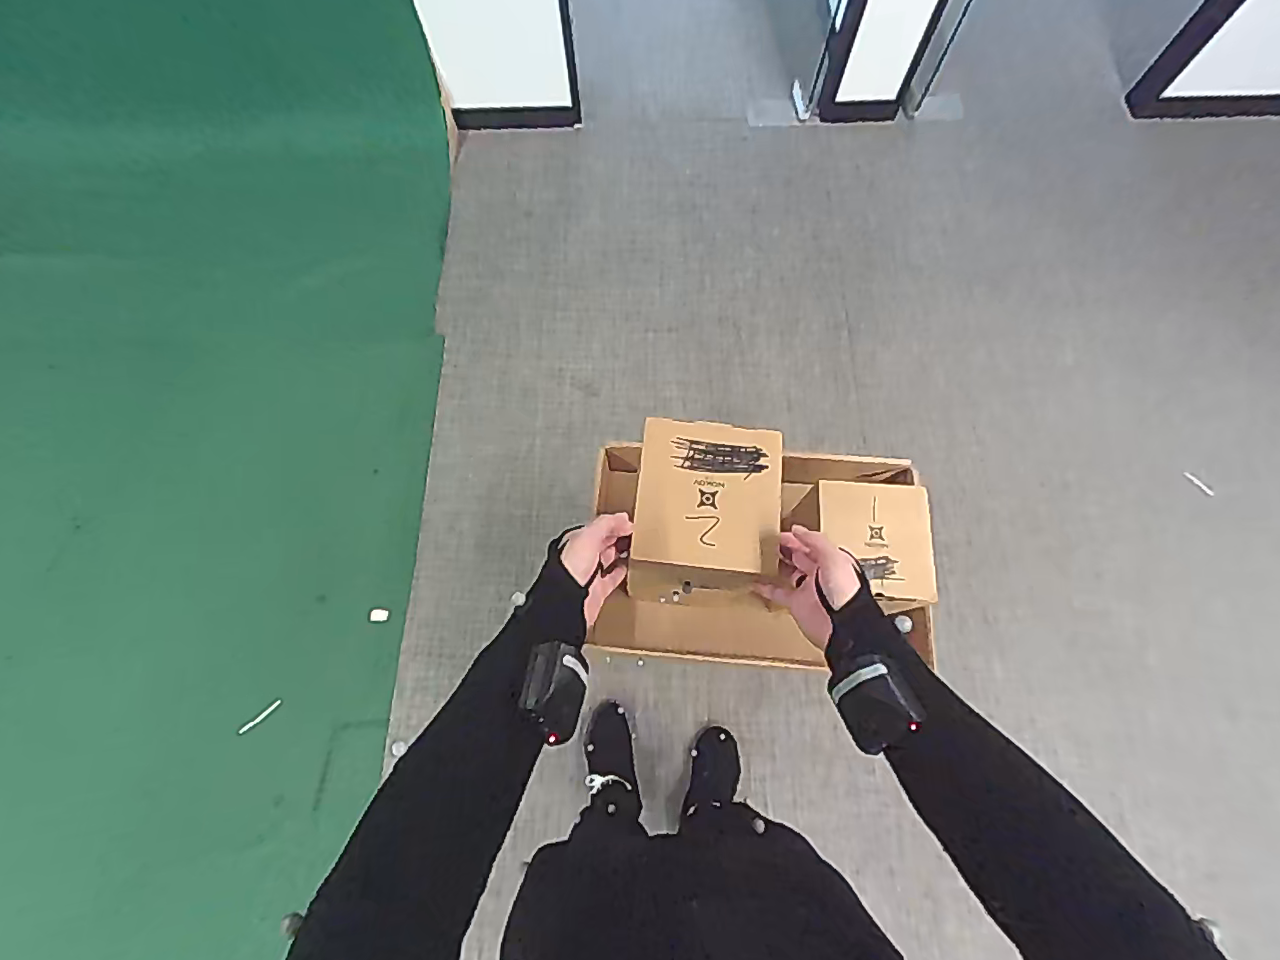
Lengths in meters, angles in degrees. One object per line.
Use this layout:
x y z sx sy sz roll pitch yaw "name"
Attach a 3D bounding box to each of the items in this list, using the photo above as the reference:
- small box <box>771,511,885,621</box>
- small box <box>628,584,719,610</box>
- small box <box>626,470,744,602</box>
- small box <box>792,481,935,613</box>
0.348 0.169 1.025 0.168 0.176 0.179 4 71 3 "small box"
0.071 0.143 1.037 0.168 0.176 0.179 6 71 4 "small box"
0.071 0.098 0.879 0.168 0.176 0.179 6 72 2 "small box"
0.347 0.115 0.870 0.168 0.176 0.179 4 70 2 "small box"
